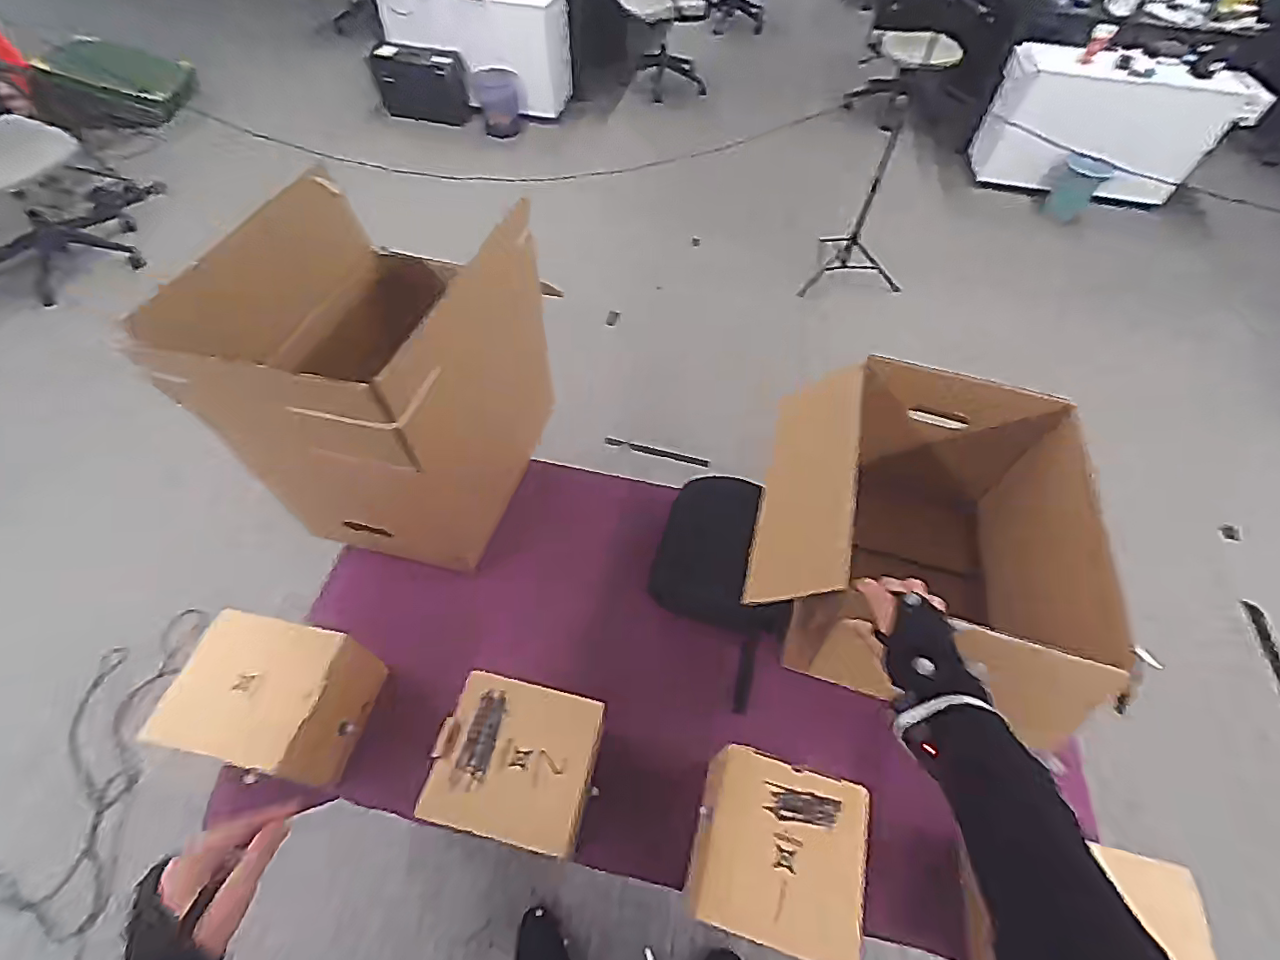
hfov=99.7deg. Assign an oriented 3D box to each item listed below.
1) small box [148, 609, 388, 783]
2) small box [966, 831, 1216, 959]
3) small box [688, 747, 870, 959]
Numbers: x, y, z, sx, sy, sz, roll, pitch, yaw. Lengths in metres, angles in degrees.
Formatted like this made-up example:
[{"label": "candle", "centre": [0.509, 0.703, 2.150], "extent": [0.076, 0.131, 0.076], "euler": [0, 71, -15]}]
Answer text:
[{"label": "small box", "centre": [-0.481, 0.298, 0.734], "extent": [0.179, 0.176, 0.168], "euler": [11, 55, 4]}, {"label": "small box", "centre": [0.500, 0.527, 0.617], "extent": [0.168, 0.176, 0.179], "euler": [12, 55, 7]}, {"label": "small box", "centre": [0.160, 0.453, 0.655], "extent": [0.168, 0.176, 0.179], "euler": [16, 57, 9]}]
